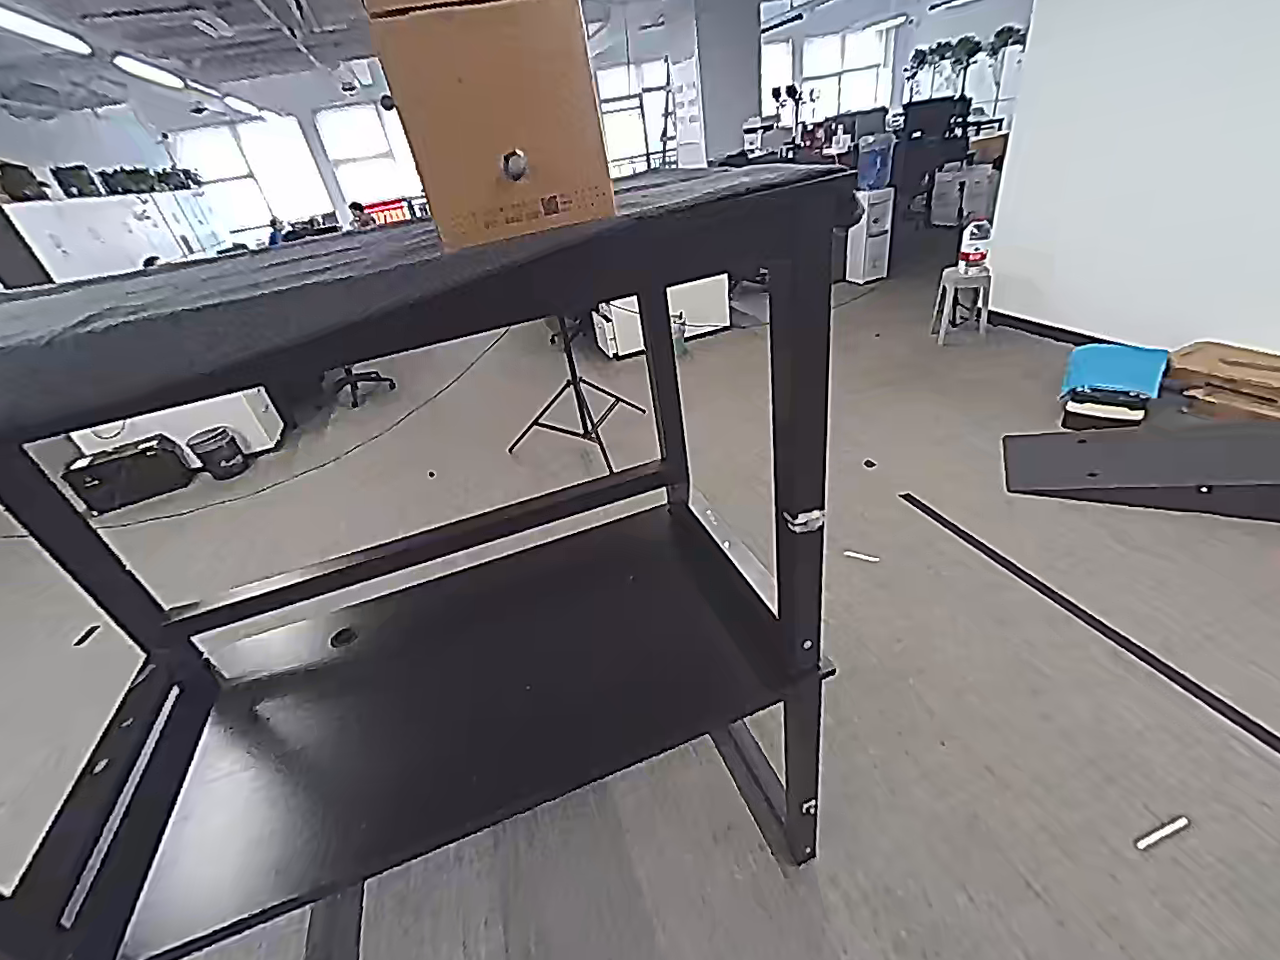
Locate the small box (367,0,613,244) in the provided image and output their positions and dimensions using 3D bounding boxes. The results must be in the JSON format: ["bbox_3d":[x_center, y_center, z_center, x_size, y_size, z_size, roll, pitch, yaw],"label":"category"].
[{"bbox_3d":[-0.137,-0.337,0.526,0.168,0.176,0.179,-18,32,-10],"label":"small box"}]

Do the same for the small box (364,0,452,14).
[{"bbox_3d":[-0.162,-0.475,0.441,0.168,0.176,0.179,-17,32,-10],"label":"small box"}]
